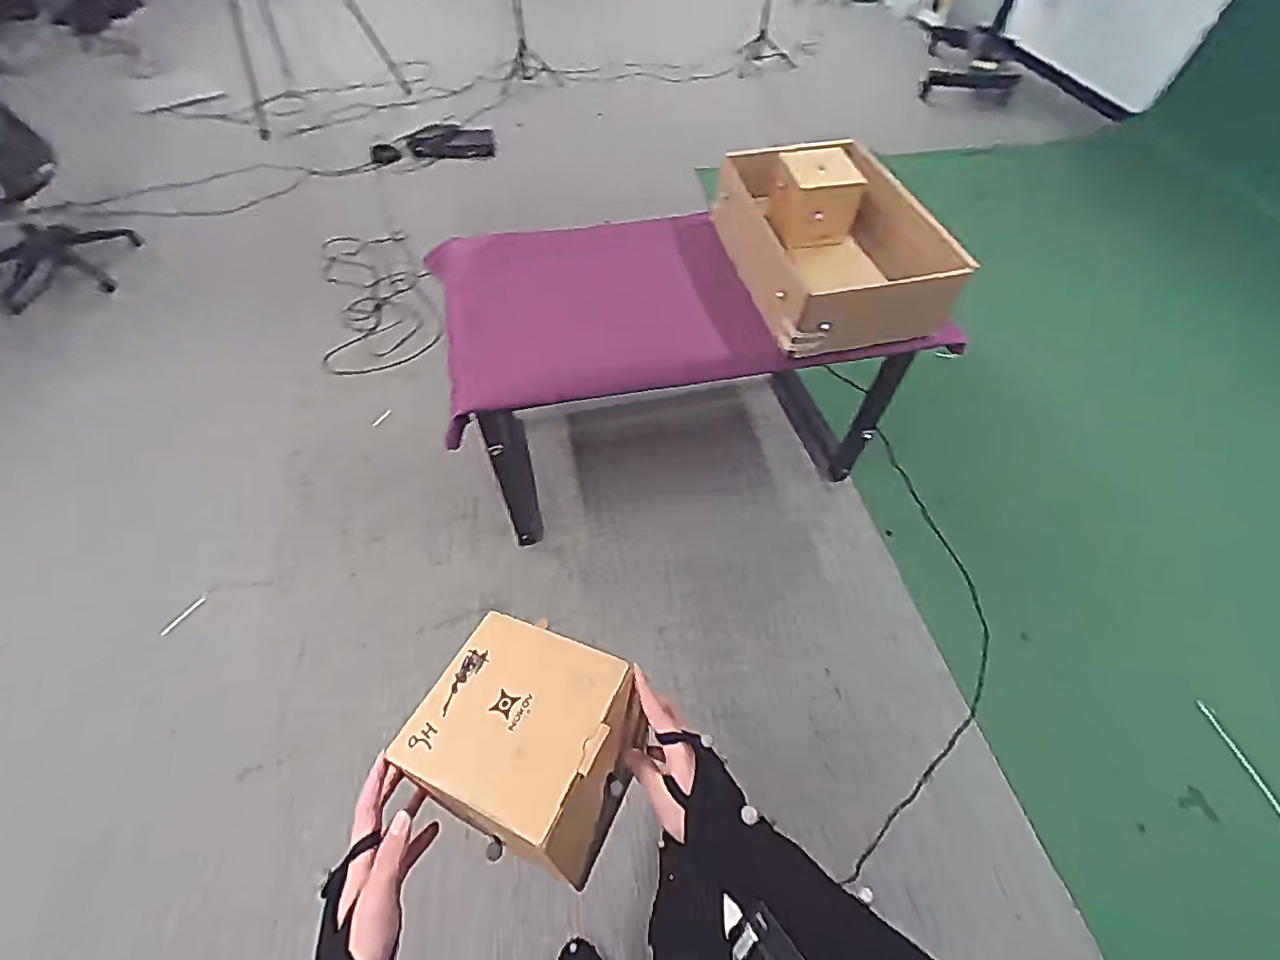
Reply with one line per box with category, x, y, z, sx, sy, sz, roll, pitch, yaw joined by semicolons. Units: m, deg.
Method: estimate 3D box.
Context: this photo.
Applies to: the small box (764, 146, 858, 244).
small box;0.440;-0.739;1.418;0.168;0.176;0.179;-9;57;-6
